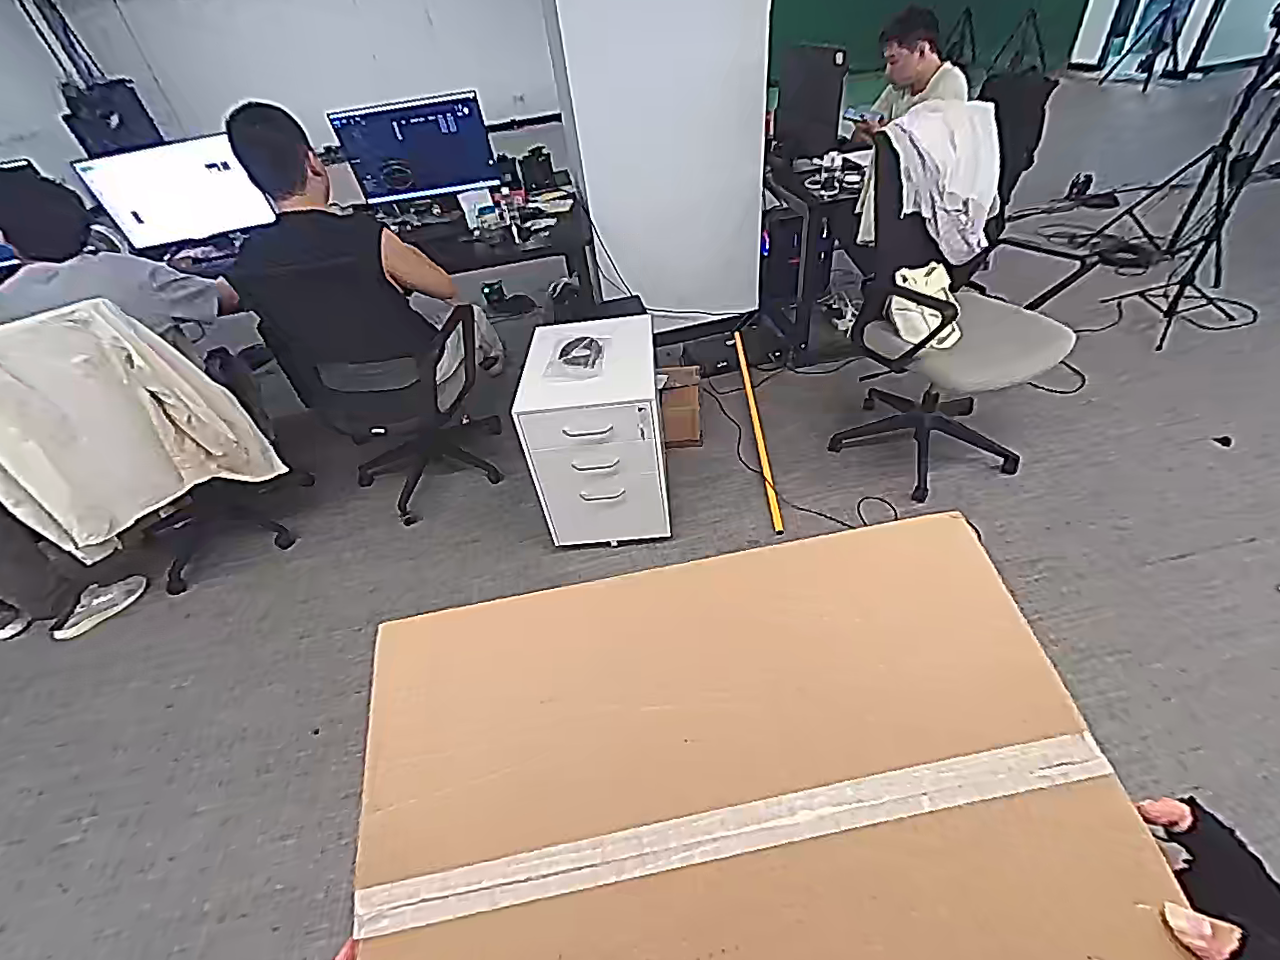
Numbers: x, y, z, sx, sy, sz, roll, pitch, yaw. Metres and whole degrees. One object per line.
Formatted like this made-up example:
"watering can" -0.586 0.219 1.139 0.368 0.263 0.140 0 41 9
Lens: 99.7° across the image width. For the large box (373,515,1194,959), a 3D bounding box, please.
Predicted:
"large box" 0.062 0.269 0.425 0.408 0.320 0.320 -11 58 -2
